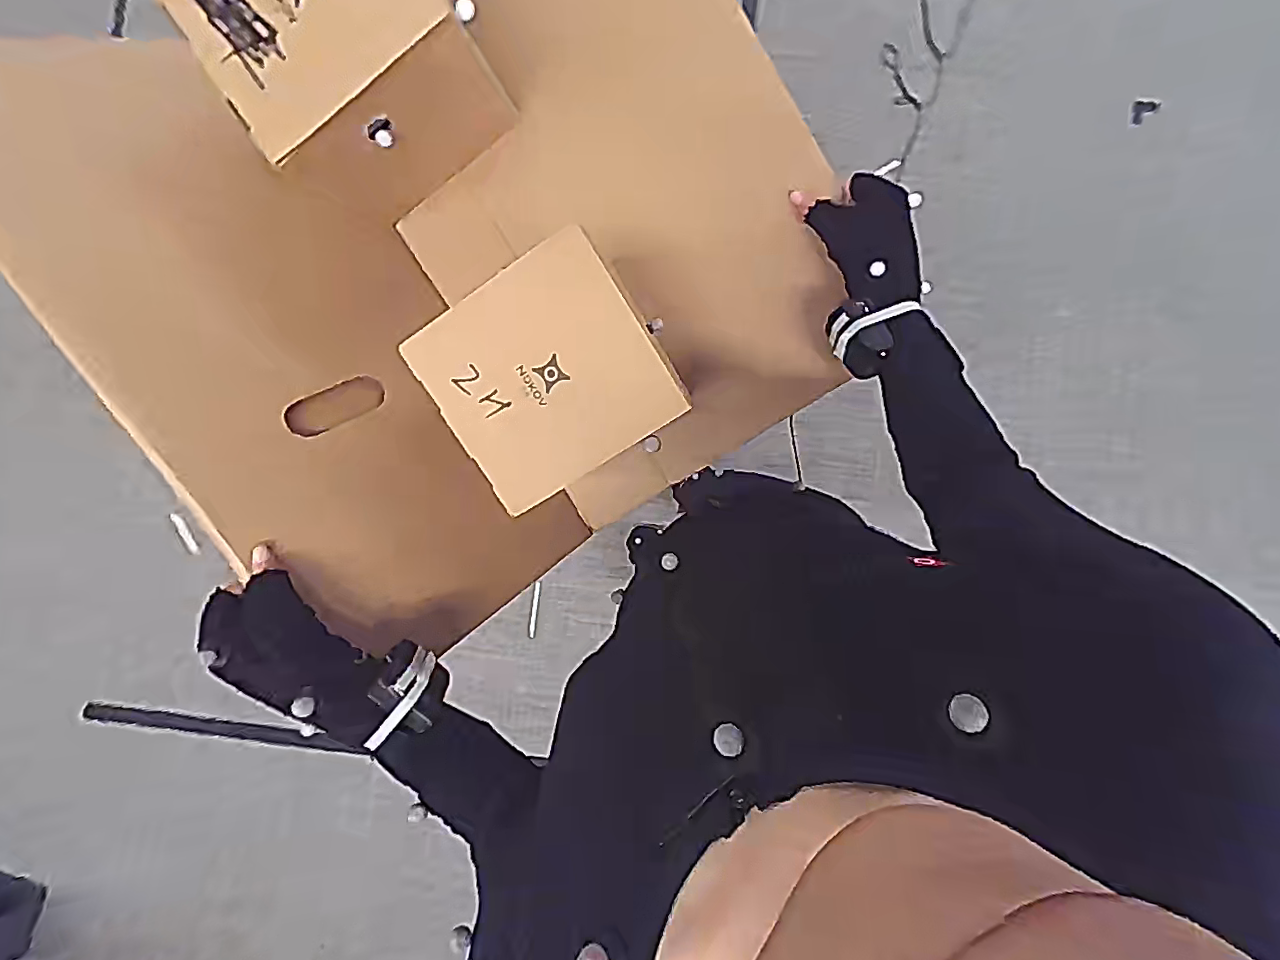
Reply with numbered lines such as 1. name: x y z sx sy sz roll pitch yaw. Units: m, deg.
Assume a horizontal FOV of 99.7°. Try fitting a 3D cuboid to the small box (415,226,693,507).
1. small box: -0.064 -0.101 0.512 0.179 0.176 0.168 -29 97 11
